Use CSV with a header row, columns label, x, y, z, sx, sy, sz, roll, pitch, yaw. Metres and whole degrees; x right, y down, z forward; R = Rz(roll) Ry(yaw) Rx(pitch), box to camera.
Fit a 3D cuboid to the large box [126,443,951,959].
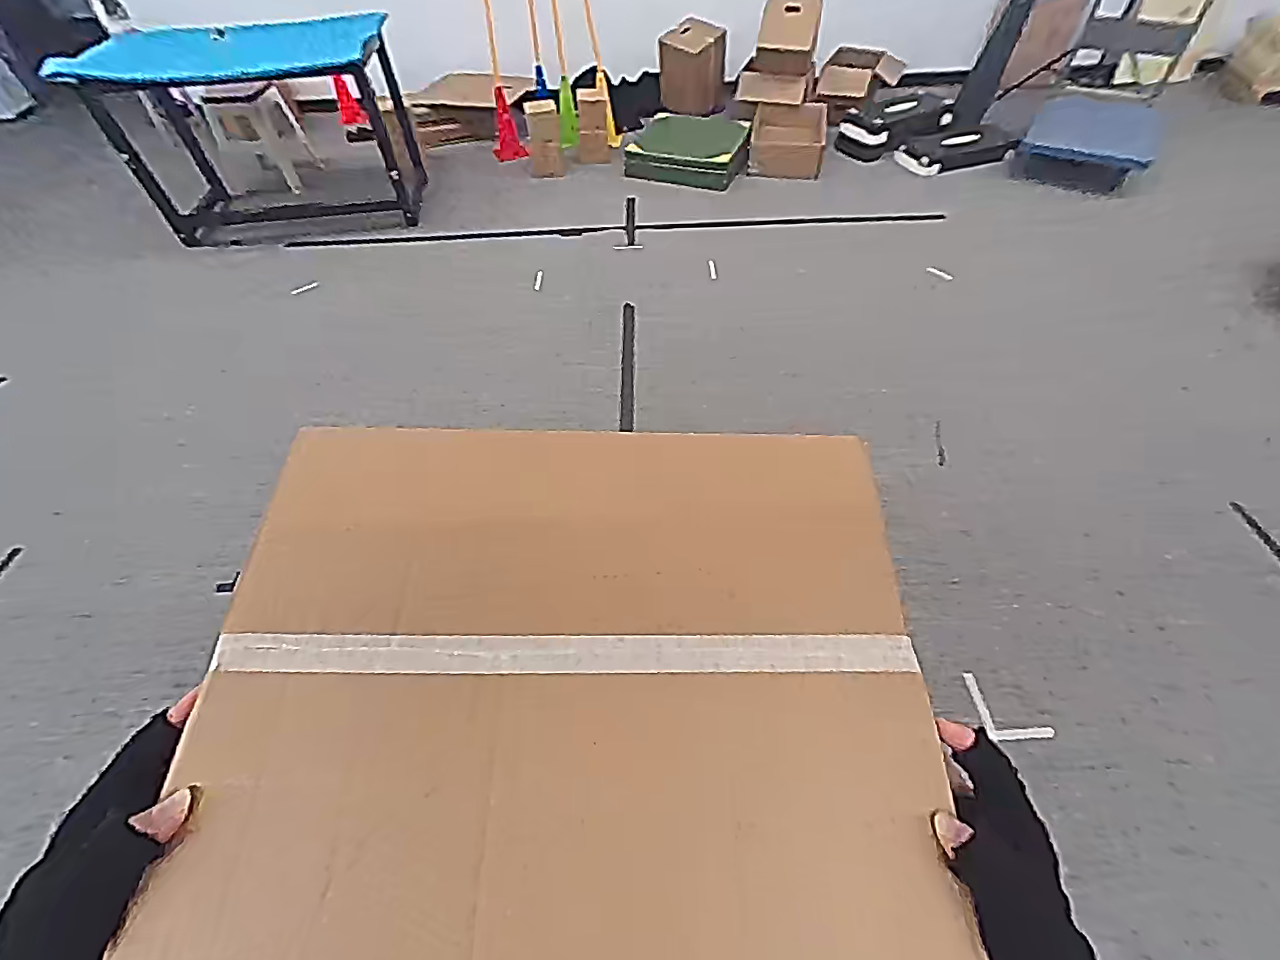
label,x,y,z,sx,sy,sz,roll,pitch,yaw
large box,-0.051,0.180,0.454,0.408,0.320,0.320,0,61,-1
